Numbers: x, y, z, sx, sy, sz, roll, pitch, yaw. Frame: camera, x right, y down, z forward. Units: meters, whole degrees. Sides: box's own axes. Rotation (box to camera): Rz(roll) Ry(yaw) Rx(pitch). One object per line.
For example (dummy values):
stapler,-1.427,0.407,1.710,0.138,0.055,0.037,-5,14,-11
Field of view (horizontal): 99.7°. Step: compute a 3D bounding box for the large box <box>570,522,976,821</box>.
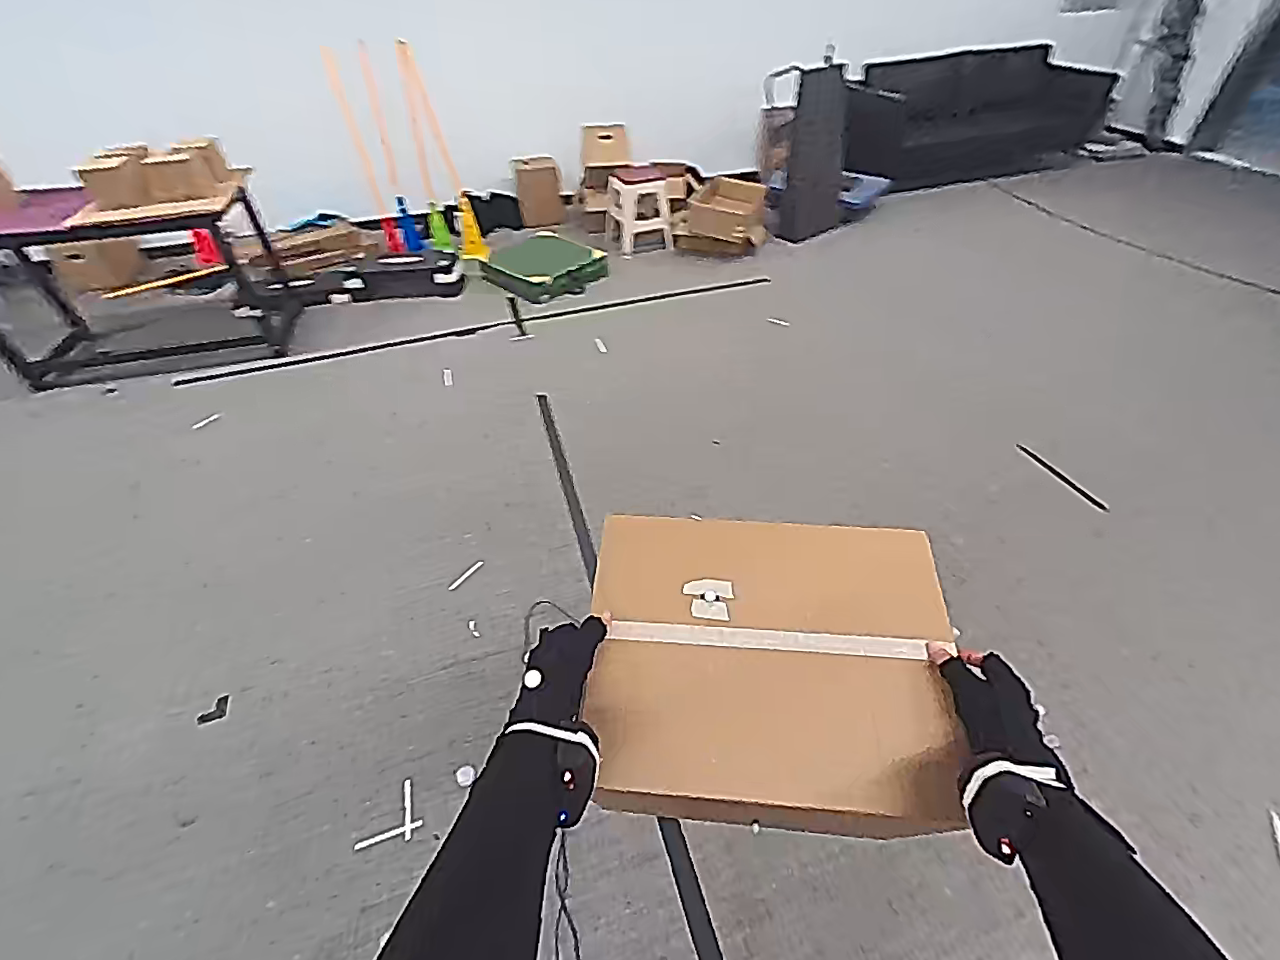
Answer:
large box,0.144,0.268,0.736,0.408,0.320,0.320,2,54,5
